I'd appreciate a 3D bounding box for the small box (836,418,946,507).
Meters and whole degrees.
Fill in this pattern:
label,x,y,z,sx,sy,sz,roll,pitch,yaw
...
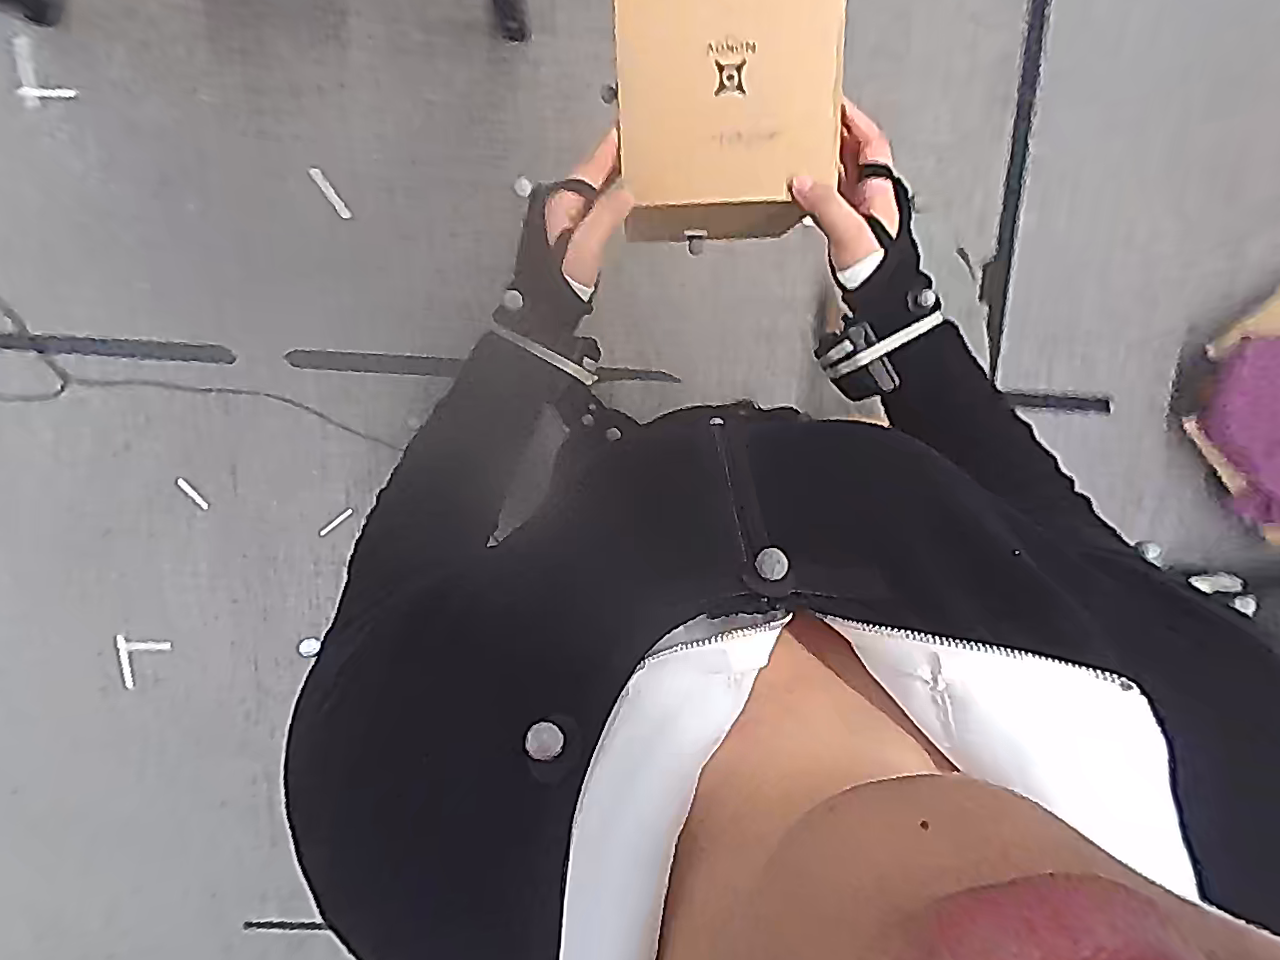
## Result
label,x,y,z,sx,sy,sz,roll,pitch,yaw
small box,0.564,-0.046,1.236,0.168,0.176,0.179,2,102,0

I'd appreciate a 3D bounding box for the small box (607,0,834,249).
label,x,y,z,sx,sy,sz,roll,pitch,yaw
small box,0.057,-0.313,0.472,0.168,0.176,0.179,-3,104,0

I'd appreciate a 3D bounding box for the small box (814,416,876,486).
label,x,y,z,sx,sy,sz,roll,pitch,yaw
small box,0.564,-0.074,1.399,0.179,0.176,0.168,4,101,0

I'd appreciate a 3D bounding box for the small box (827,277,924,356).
label,x,y,z,sx,sy,sz,roll,pitch,yaw
small box,0.571,-0.396,1.333,0.168,0.176,0.179,0,101,0
